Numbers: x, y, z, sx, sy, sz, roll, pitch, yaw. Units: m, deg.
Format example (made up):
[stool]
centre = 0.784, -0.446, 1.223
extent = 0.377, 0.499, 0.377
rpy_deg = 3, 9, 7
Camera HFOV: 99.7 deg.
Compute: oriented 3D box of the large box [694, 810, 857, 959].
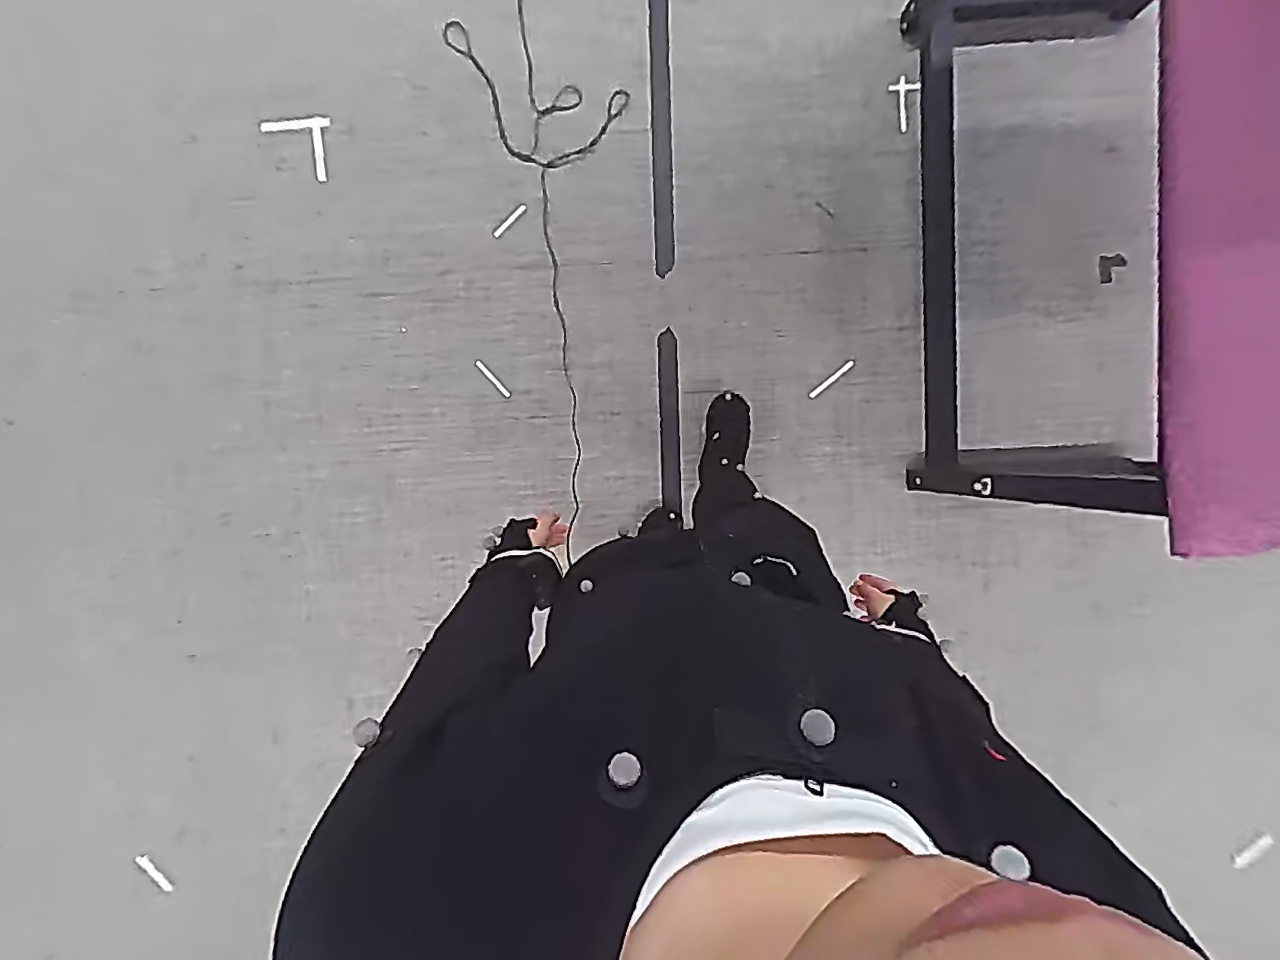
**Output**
[large box]
centre = 0.304, 1.069, 1.268
extent = 0.320, 0.320, 0.408
rpy_deg = -4, 91, 0
